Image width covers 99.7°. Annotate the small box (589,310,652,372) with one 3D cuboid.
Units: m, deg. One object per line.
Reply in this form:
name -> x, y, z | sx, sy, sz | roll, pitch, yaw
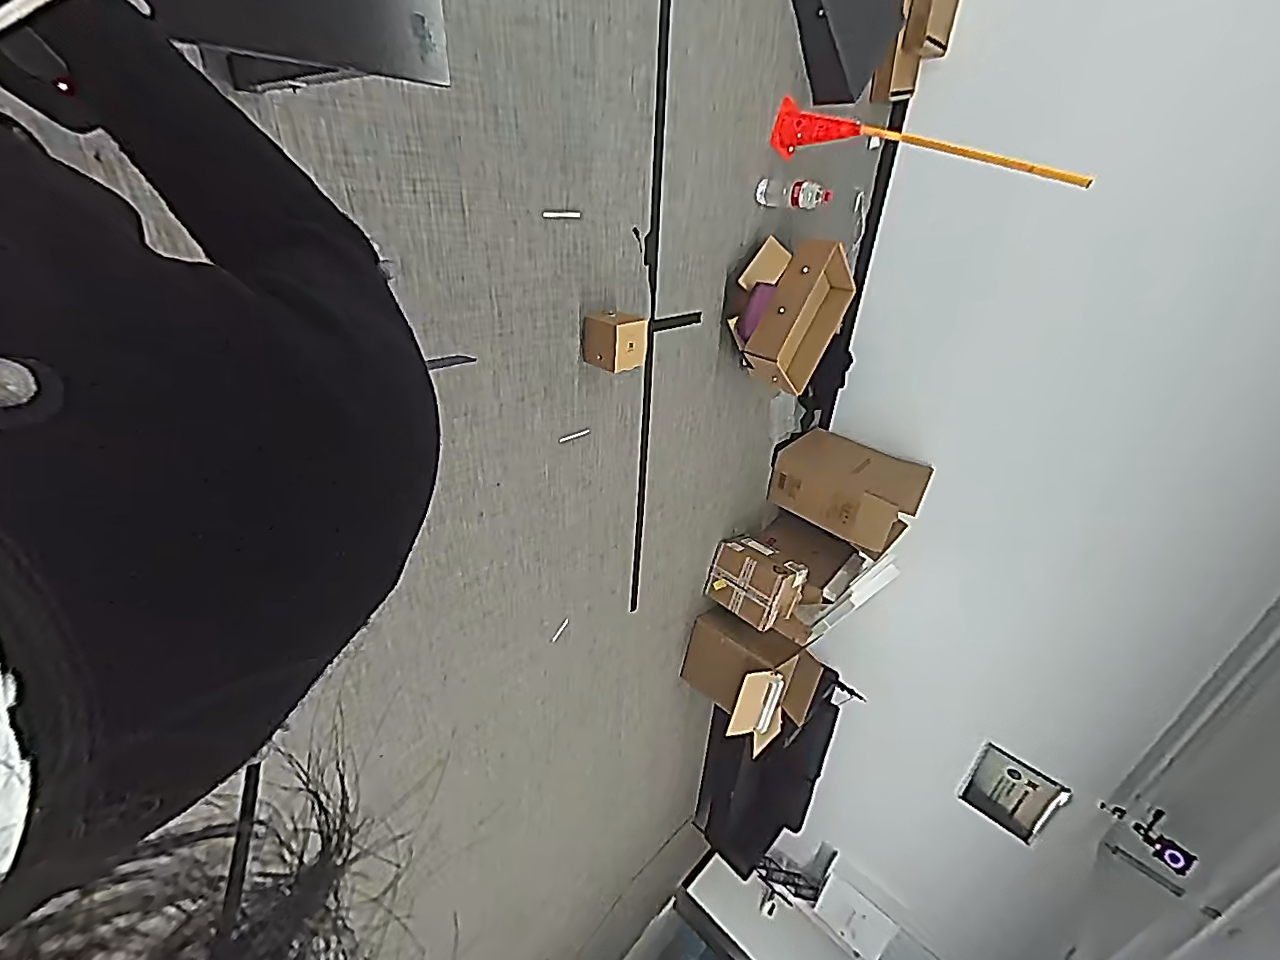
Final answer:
small box -> -0.076, -0.519, 2.002 | 0.168, 0.176, 0.179 | -26, 130, -40
